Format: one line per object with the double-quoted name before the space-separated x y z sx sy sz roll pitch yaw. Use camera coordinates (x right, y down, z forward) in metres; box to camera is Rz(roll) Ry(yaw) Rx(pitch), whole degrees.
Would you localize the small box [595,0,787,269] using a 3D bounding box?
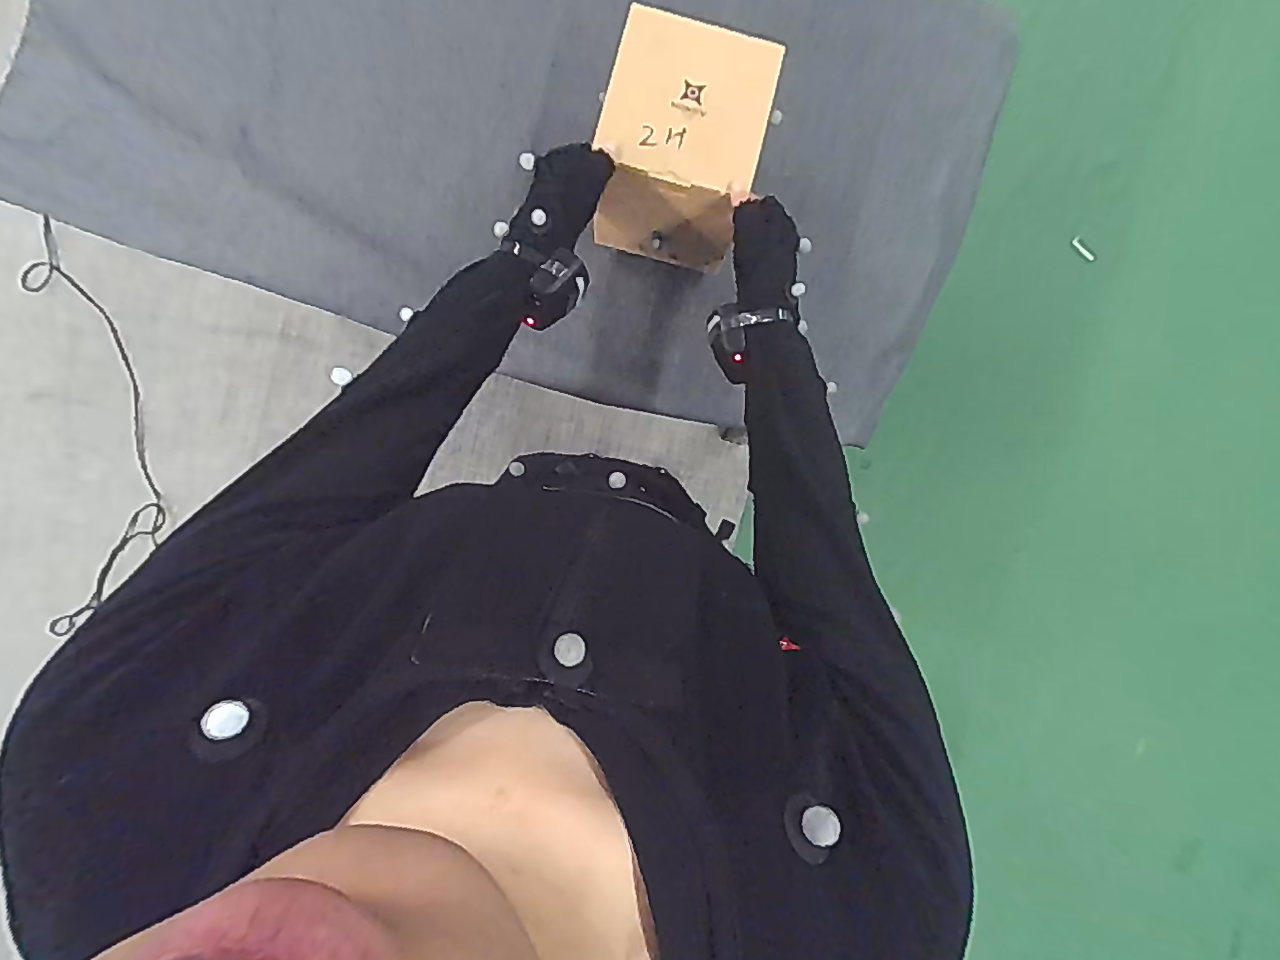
"small box" 0.048 -0.379 0.622 0.168 0.176 0.179 14 84 -2
